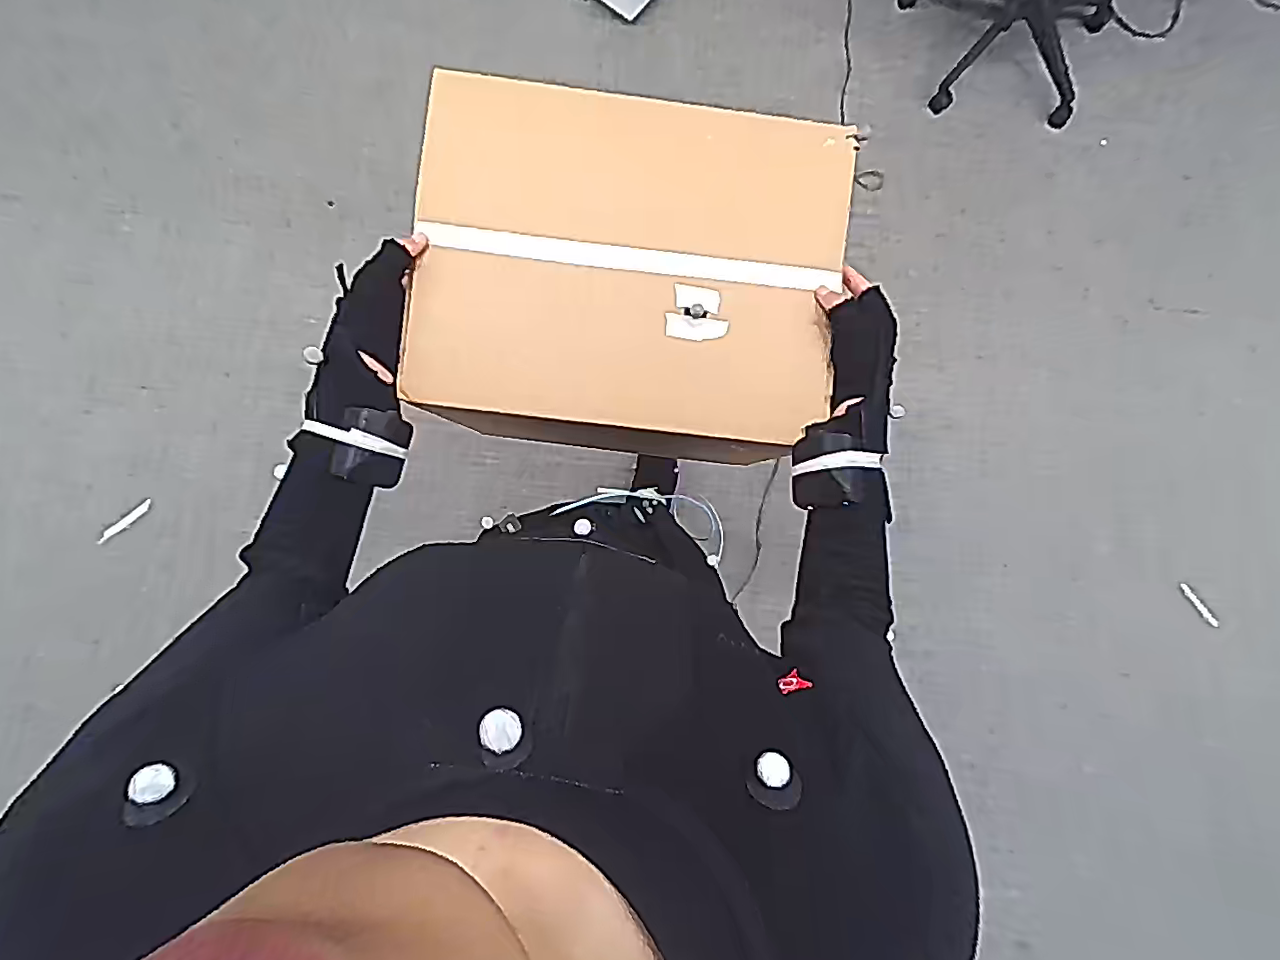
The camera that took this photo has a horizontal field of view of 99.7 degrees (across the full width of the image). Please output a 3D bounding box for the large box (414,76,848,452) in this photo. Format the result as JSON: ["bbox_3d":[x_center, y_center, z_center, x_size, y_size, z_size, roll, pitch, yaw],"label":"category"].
[{"bbox_3d":[-0.014,-0.216,0.673,0.408,0.320,0.320,7,90,-3],"label":"large box"}]
